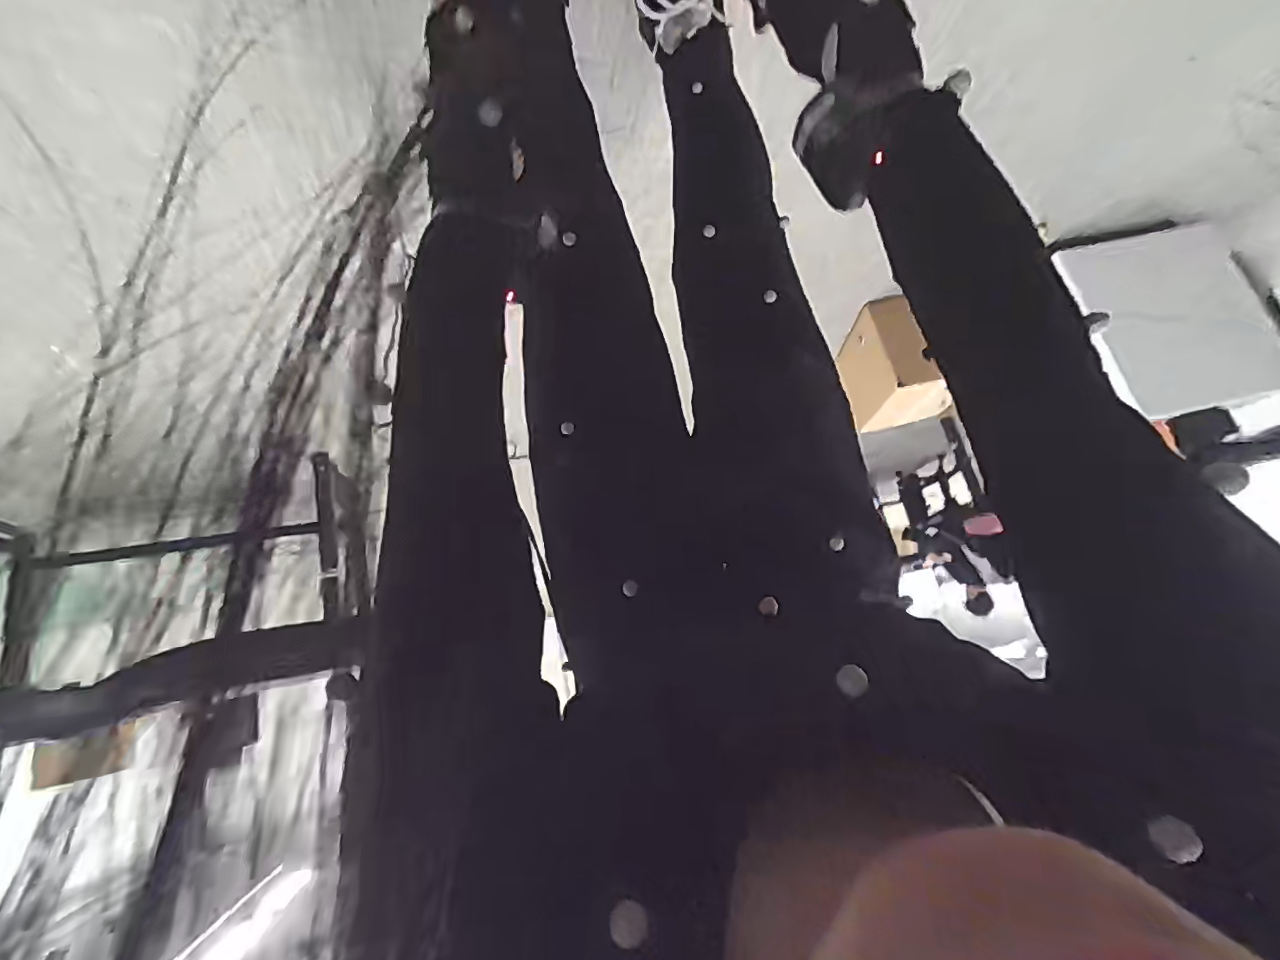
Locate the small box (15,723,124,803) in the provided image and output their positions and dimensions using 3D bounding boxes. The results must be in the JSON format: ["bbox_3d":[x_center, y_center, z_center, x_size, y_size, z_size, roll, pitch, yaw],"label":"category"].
[{"bbox_3d":[-1.714,0.845,1.638,0.168,0.176,0.179,-9,163,-17],"label":"small box"}]
